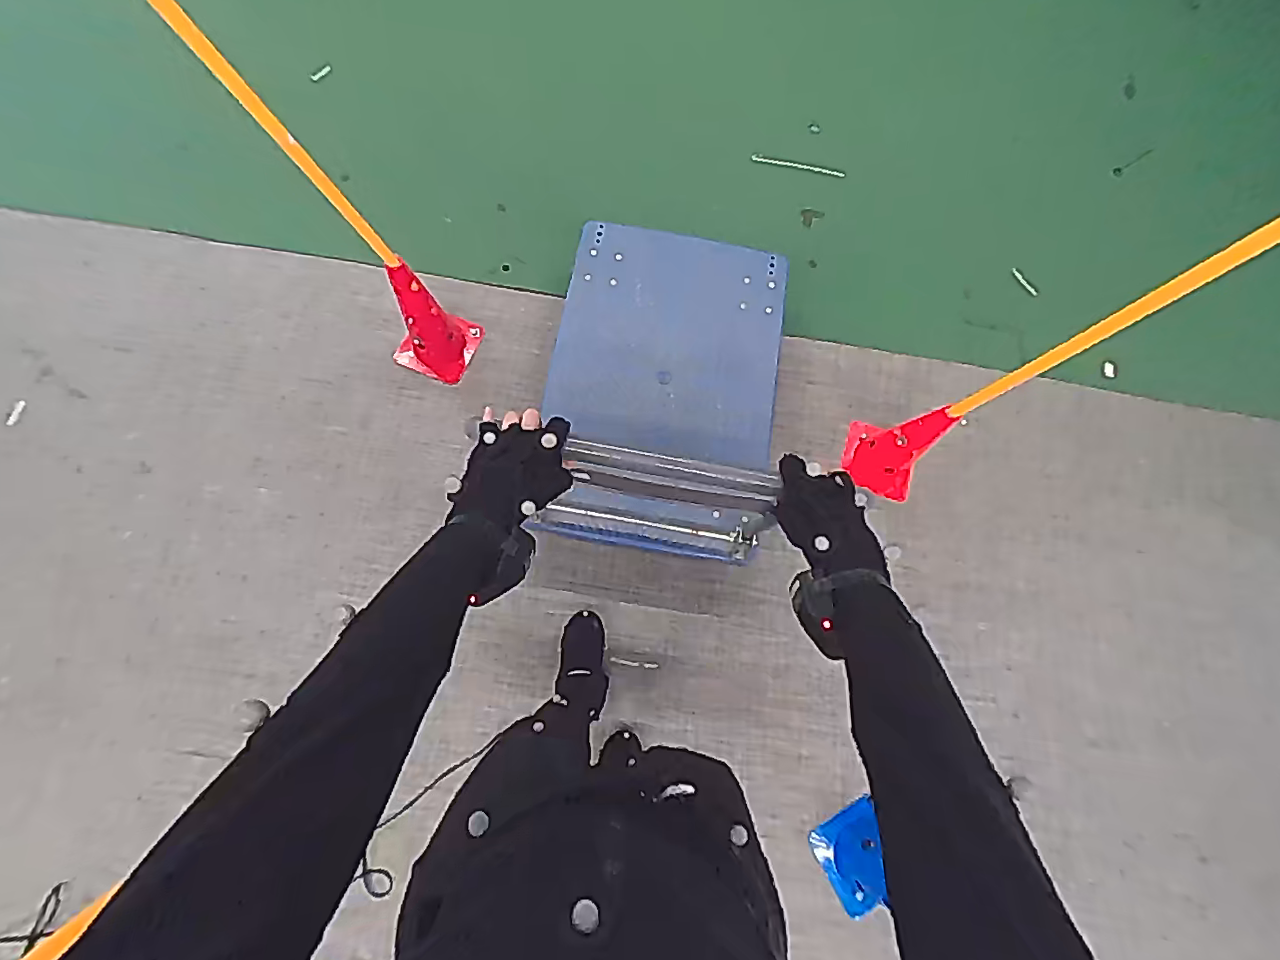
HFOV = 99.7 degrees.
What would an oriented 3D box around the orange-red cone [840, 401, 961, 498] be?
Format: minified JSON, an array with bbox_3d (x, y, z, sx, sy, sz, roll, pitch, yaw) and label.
[{"bbox_3d":[0.683,-0.109,1.359,0.198,0.360,0.199,20,75,3],"label":"orange-red cone"}]
